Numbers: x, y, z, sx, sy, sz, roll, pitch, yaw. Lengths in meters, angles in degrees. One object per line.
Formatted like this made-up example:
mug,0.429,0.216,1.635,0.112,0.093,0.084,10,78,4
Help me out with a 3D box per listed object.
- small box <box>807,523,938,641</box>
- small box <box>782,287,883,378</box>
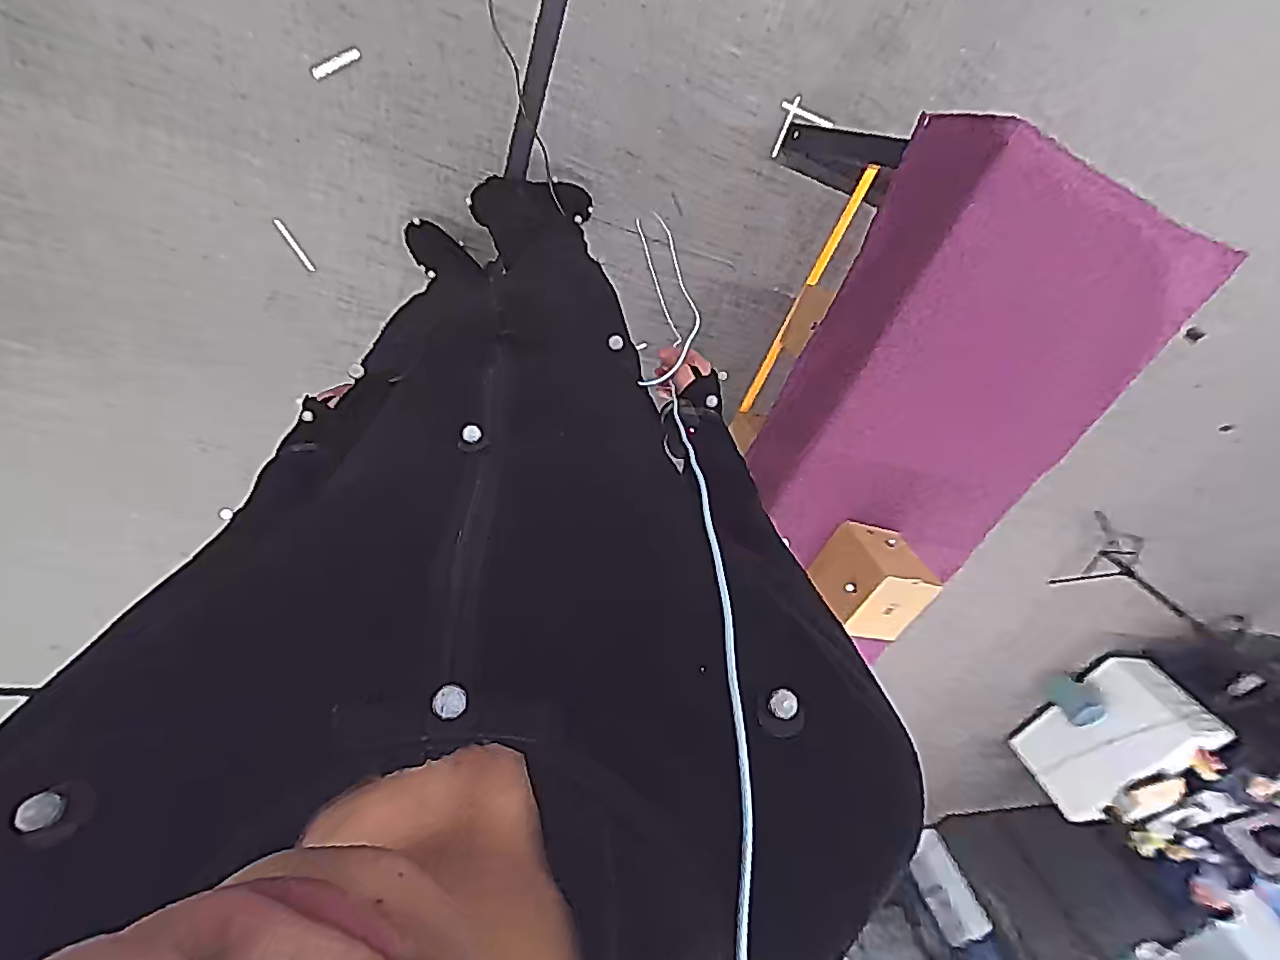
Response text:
small box,0.492,0.222,1.179,0.168,0.176,0.179,13,121,-24
small box,0.523,-0.412,1.498,0.168,0.176,0.179,8,125,-21
